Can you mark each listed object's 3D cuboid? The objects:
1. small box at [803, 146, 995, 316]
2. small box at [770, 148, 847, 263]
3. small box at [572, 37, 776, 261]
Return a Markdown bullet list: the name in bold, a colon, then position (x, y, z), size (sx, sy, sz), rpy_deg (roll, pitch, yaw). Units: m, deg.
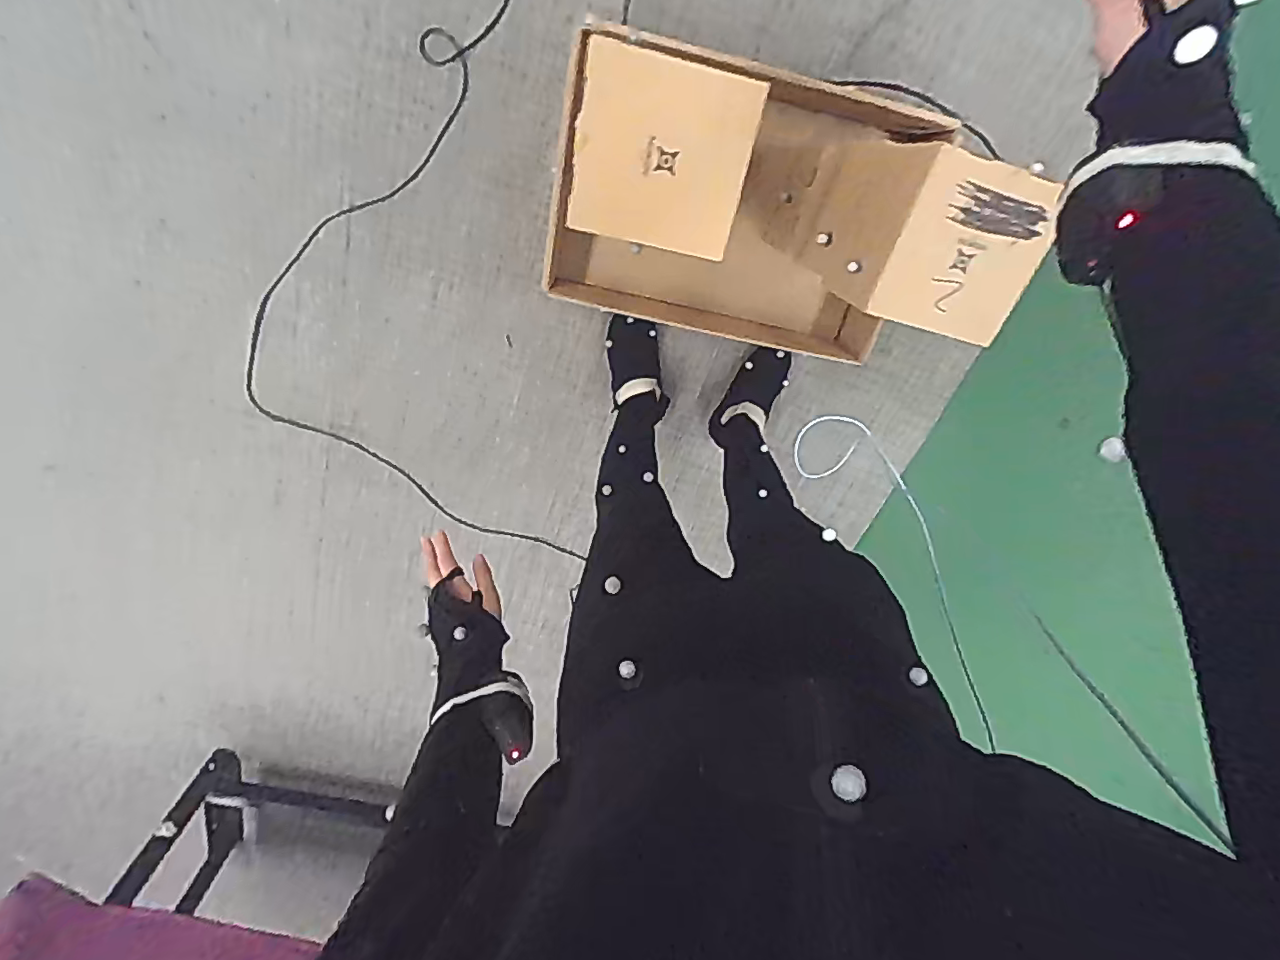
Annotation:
- **small box**: position (0.363, -0.369, 0.804), size (0.168, 0.176, 0.179), rpy_deg (15, 118, -10)
- **small box**: position (0.347, -0.455, 0.944), size (0.179, 0.176, 0.168), rpy_deg (15, 118, -9)
- **small box**: position (0.029, -0.367, 0.615), size (0.179, 0.176, 0.168), rpy_deg (11, 121, -6)
